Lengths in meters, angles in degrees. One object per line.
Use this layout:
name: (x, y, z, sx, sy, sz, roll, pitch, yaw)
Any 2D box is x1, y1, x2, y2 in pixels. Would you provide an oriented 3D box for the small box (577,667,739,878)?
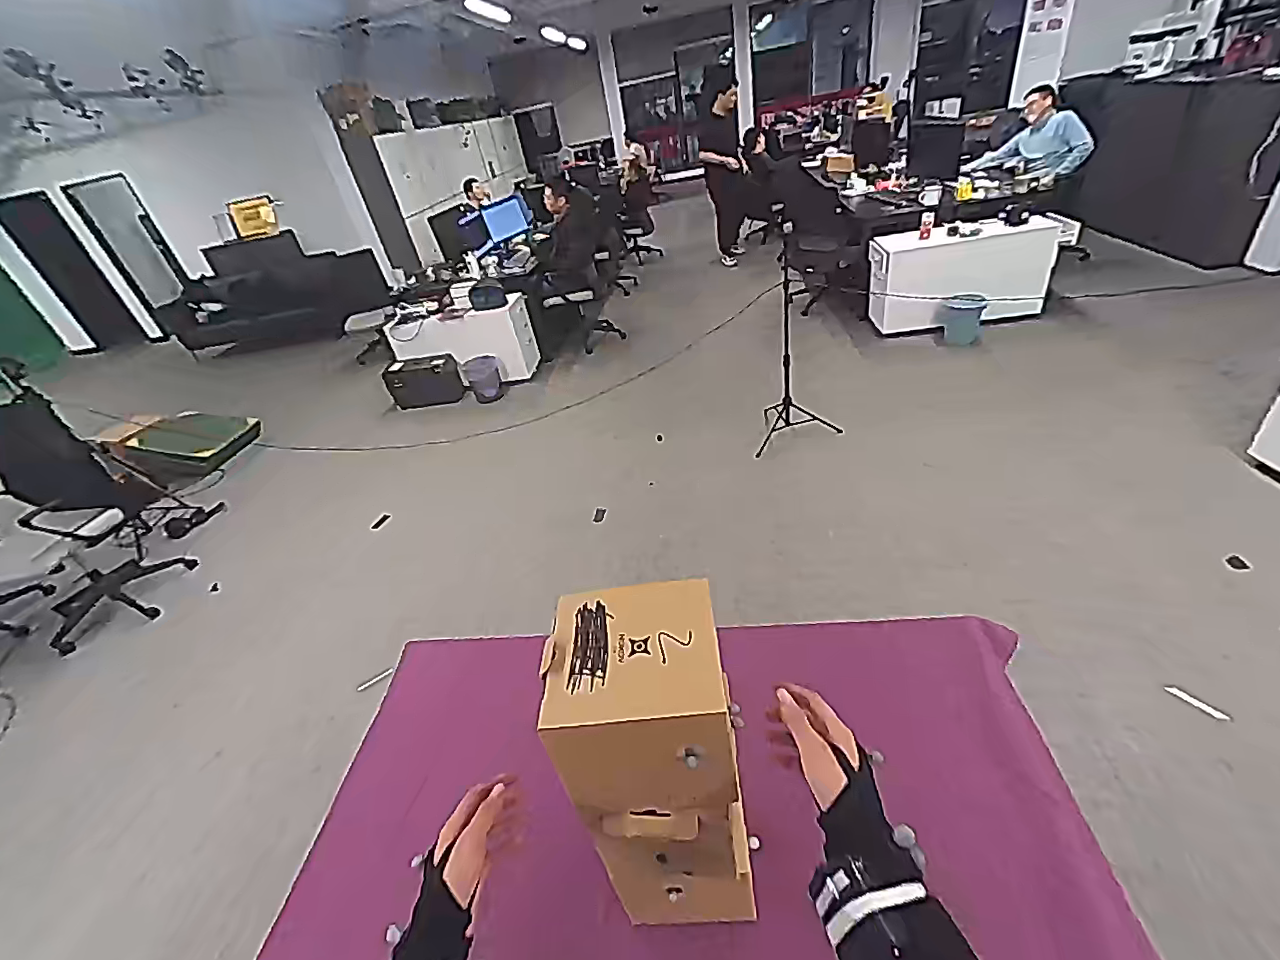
small box: (0.035, 0.360, 0.681, 0.168, 0.176, 0.179, -4, 35, 12)

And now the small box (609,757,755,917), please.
small box: (0.062, 0.495, 0.771, 0.179, 0.176, 0.168, -7, 35, 6)
